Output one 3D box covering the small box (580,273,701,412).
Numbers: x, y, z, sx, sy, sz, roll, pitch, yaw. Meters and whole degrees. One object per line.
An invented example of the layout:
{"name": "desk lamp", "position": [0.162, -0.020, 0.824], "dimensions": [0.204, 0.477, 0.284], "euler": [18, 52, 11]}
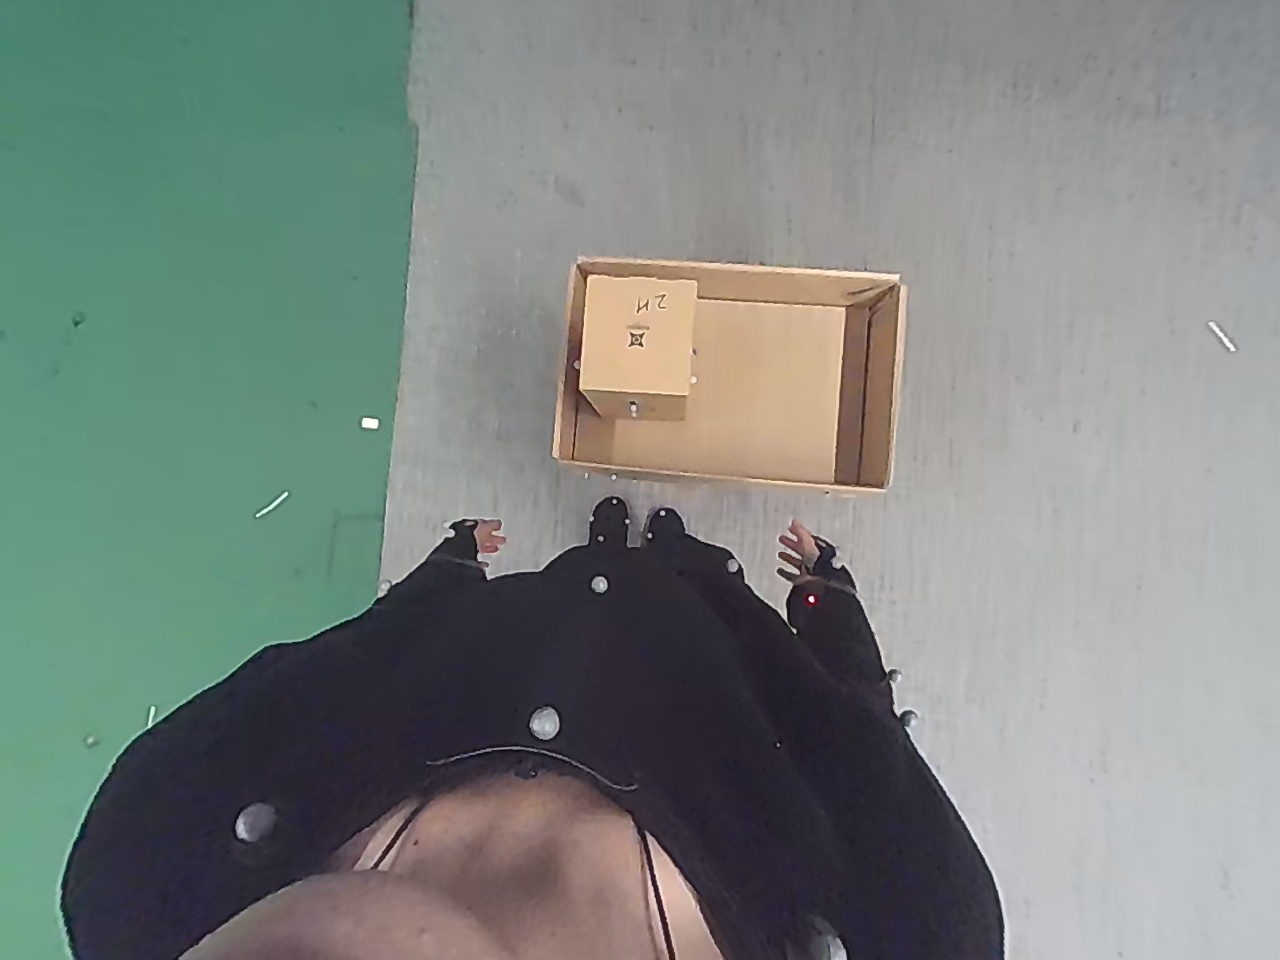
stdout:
{"name": "small box", "position": [0.006, -0.210, 0.868], "dimensions": [0.168, 0.176, 0.179], "euler": [5, 88, 4]}
